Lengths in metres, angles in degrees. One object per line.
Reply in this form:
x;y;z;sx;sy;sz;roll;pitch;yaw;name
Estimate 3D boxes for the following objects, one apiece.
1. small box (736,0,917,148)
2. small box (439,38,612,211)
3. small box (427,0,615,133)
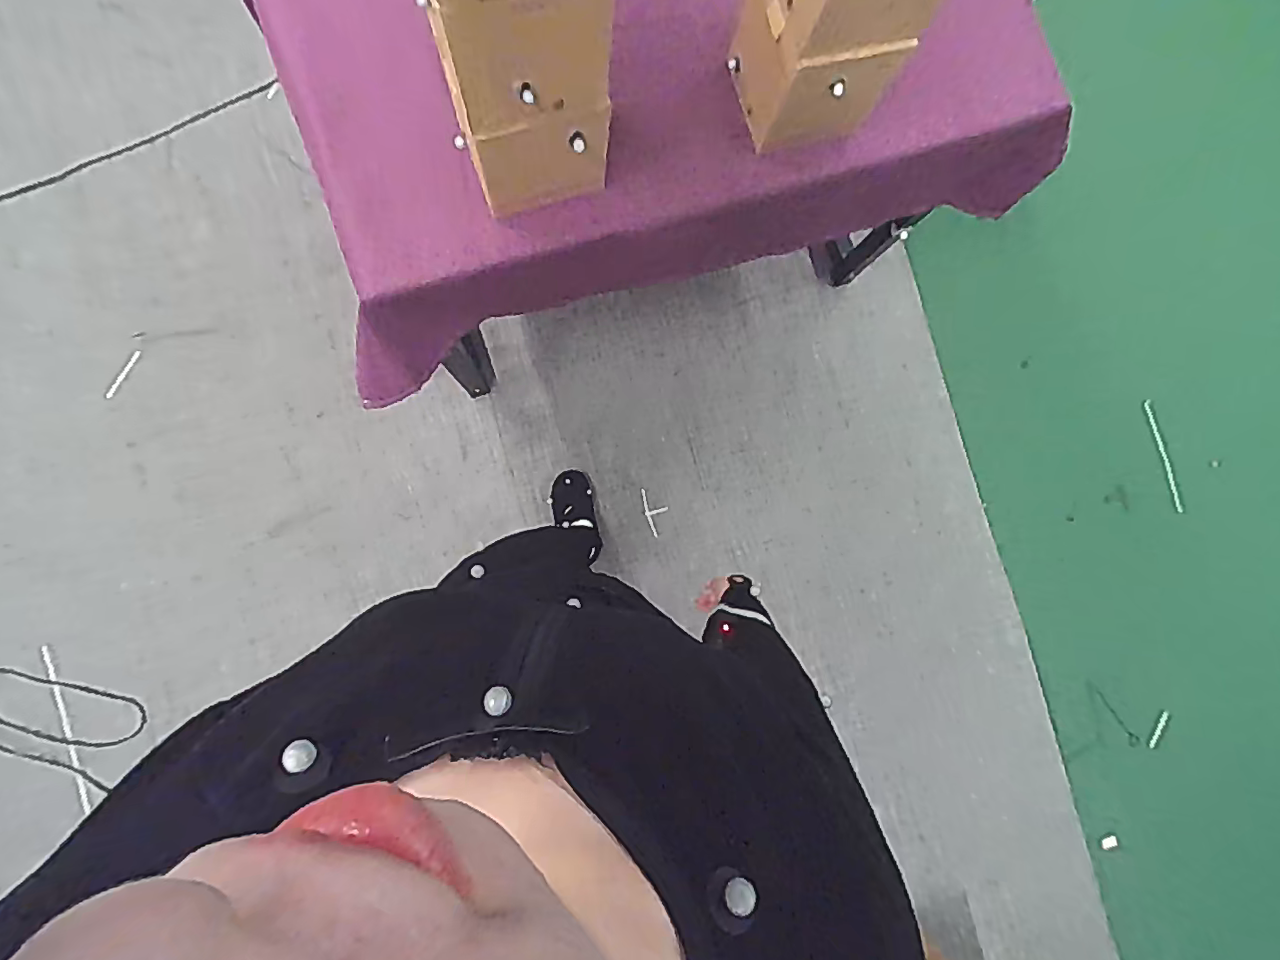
0.252;-0.619;0.782;0.179;0.176;0.168;-16;88;-8;small box
-0.150;-0.498;0.726;0.179;0.176;0.168;-19;88;-8;small box
-0.136;-0.513;0.565;0.168;0.176;0.179;-19;89;-8;small box
